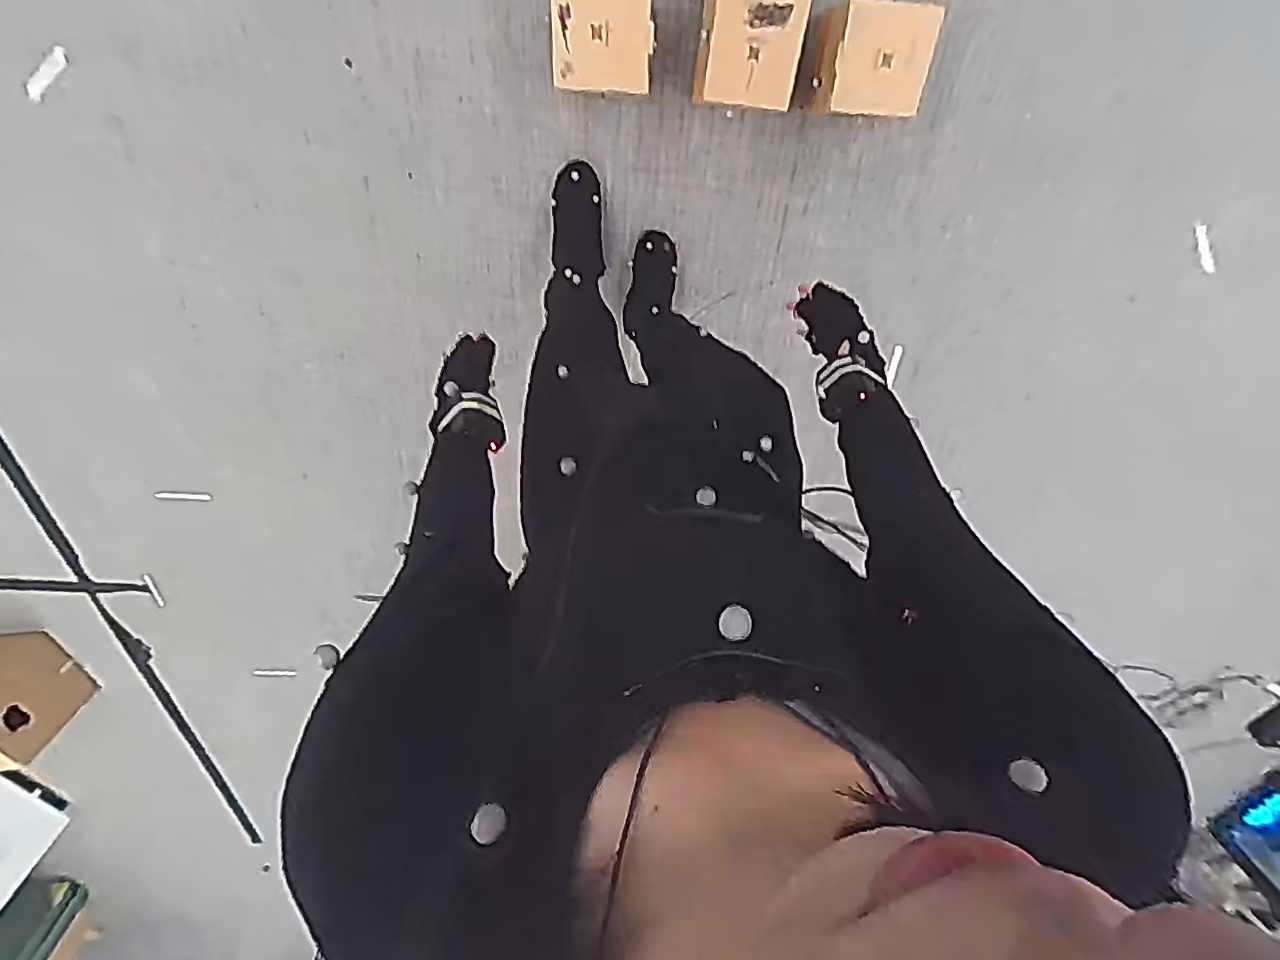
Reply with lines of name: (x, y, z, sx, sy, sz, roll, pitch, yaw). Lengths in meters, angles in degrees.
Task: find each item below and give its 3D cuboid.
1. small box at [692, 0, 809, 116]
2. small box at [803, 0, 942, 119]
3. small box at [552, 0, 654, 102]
small box: (0.200, -0.815, 1.037, 0.168, 0.176, 0.179, 4, 124, -6)
small box: (0.438, -0.810, 1.056, 0.179, 0.176, 0.168, 0, 124, -5)
small box: (-0.071, -0.821, 1.018, 0.179, 0.176, 0.168, 3, 123, -4)
